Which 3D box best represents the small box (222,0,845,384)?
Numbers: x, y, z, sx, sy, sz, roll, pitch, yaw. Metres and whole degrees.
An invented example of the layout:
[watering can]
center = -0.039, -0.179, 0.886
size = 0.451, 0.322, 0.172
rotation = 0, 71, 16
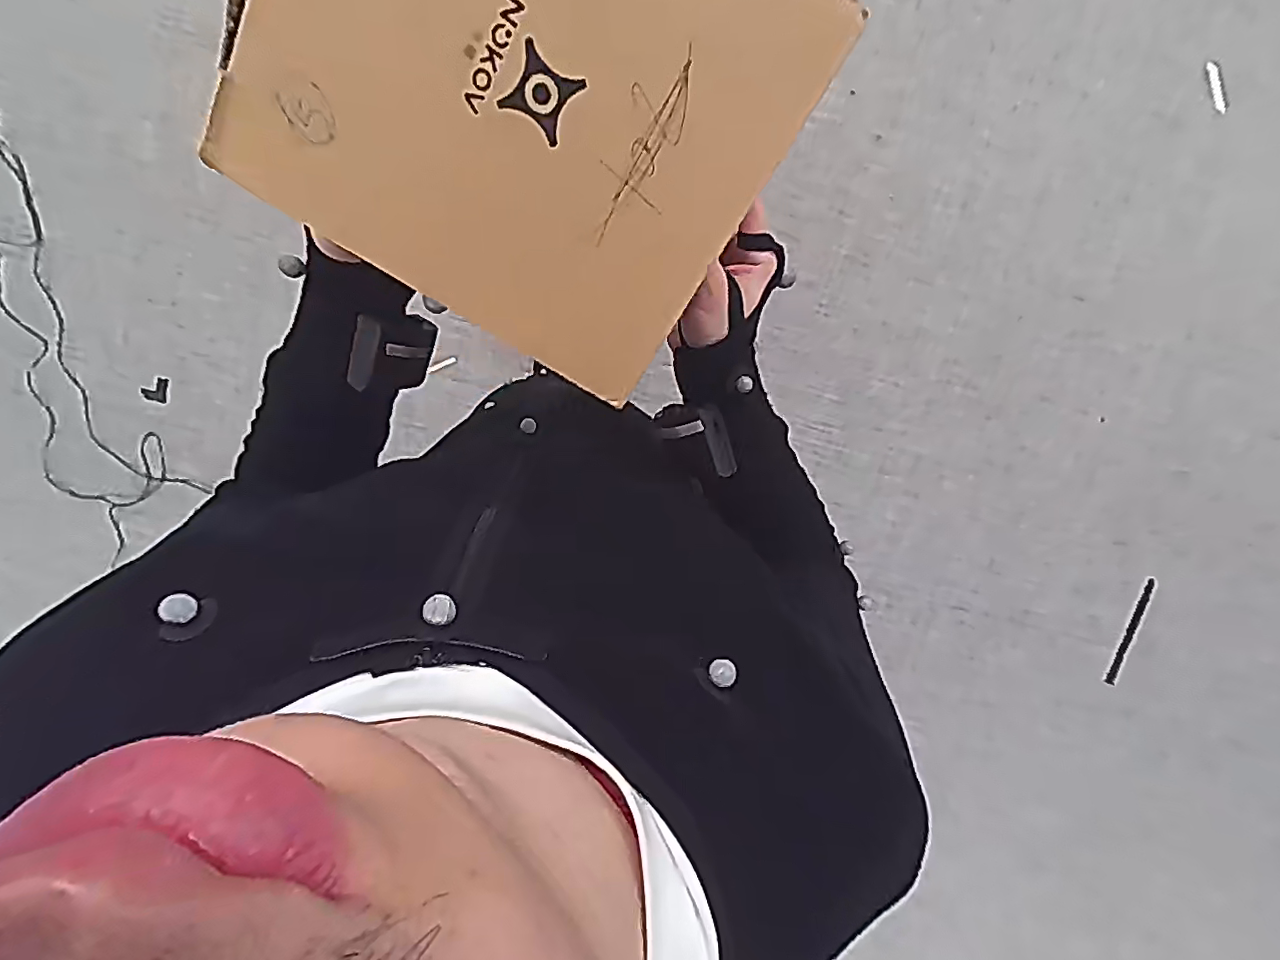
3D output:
[small box]
center = -0.046, -0.178, 0.270
size = 0.179, 0.176, 0.168
rotation = 28, 110, -18
